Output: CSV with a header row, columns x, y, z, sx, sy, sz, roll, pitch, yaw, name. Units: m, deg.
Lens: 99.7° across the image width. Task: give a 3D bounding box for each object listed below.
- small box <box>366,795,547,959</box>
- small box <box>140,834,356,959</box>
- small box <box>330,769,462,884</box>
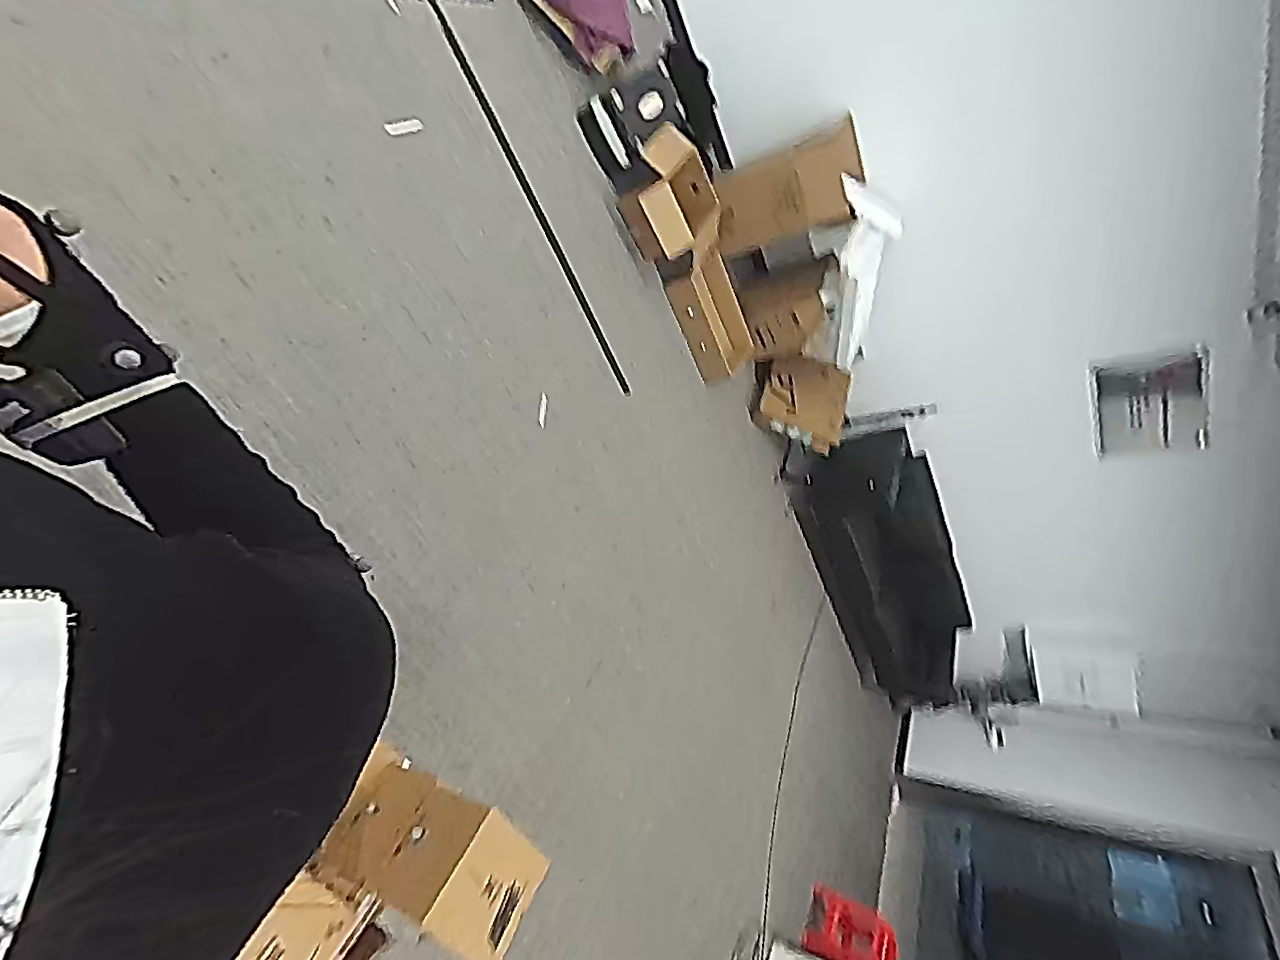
x,y,z,sx,sy,sz,roll,pitch,yaw,name
-0.291,0.640,0.867,0.179,0.176,0.168,60,42,-23,small box
-0.567,0.652,0.784,0.168,0.176,0.179,-51,121,-41,small box
-0.410,0.654,0.980,0.179,0.176,0.168,58,43,-26,small box
